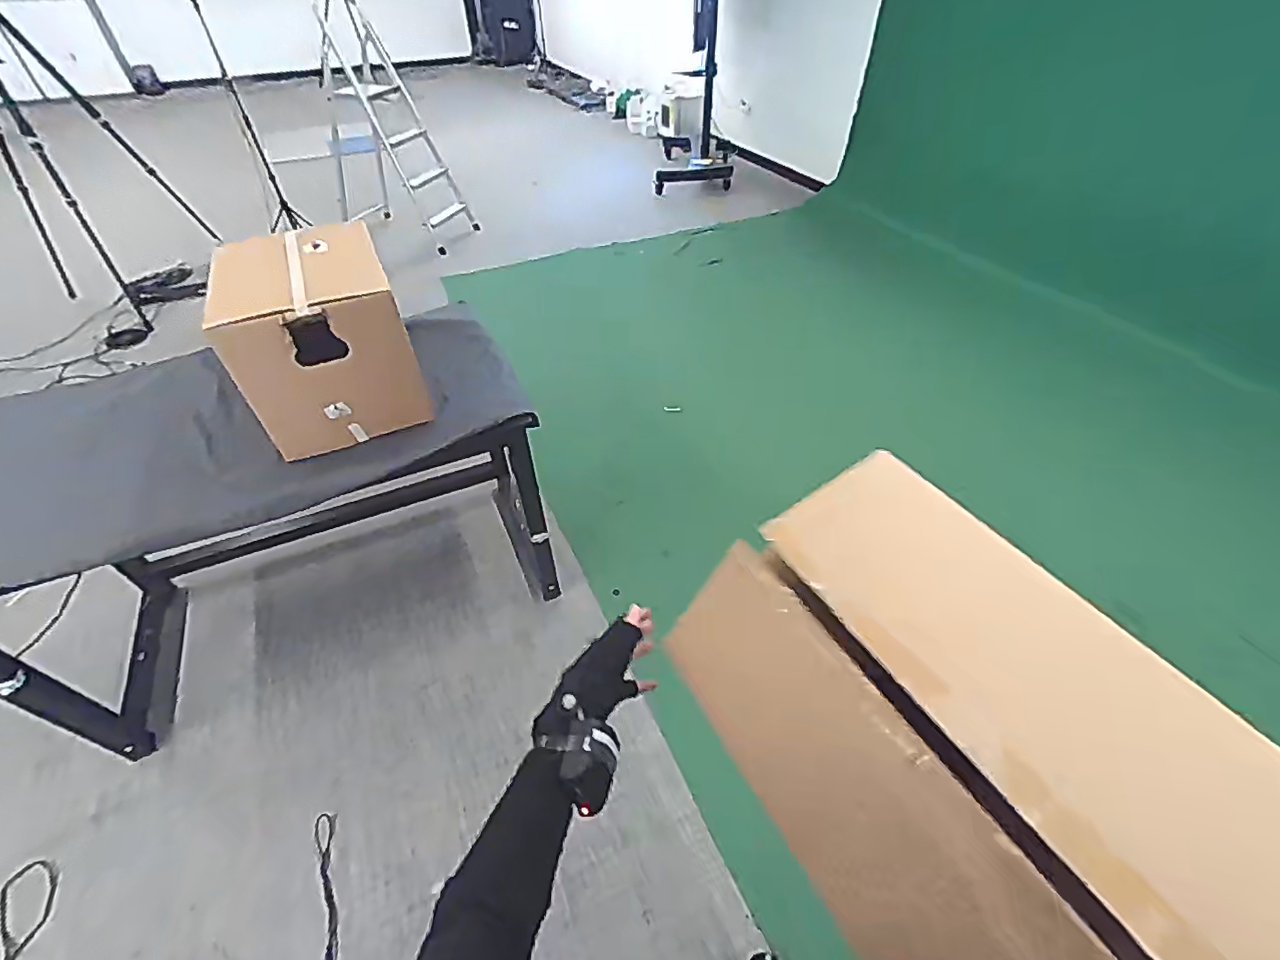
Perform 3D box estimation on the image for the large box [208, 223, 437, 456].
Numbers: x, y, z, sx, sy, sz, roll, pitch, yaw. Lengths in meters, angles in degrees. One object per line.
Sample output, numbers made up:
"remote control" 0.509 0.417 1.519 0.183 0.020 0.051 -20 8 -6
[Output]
"large box" -0.684 -0.321 1.194 0.320 0.320 0.408 -20 47 -18
